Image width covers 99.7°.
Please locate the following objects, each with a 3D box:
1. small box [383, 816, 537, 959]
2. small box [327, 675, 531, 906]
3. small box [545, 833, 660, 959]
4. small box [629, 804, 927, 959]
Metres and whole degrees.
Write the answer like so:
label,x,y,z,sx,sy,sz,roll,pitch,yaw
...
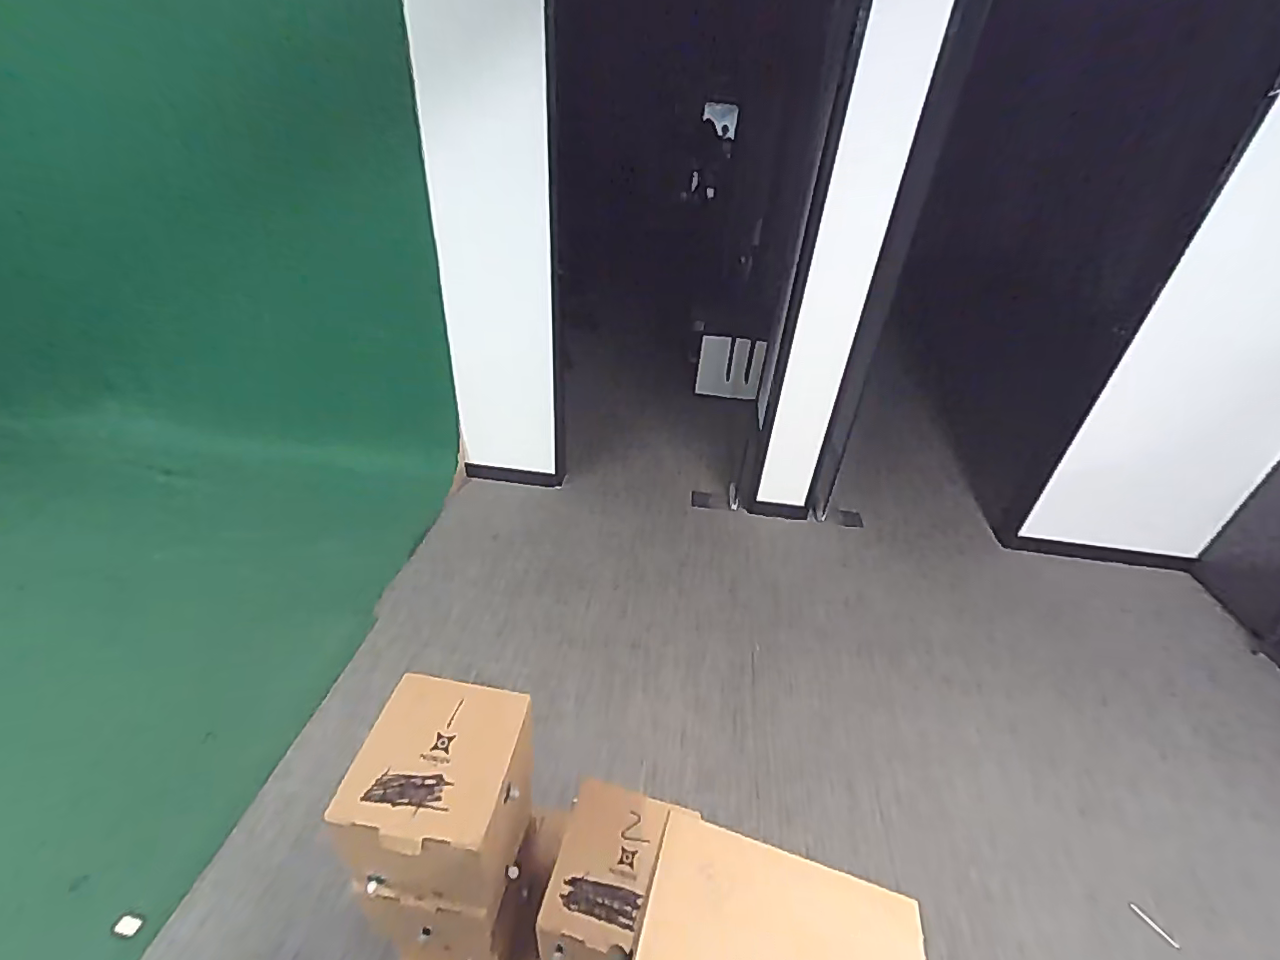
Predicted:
label,x,y,z,sx,sy,sz,roll,pitch,yaw
small box,-0.262,0.638,0.837,0.168,0.176,0.179,10,34,4
small box,-0.231,0.371,0.650,0.168,0.176,0.179,9,33,3
small box,-0.033,0.678,0.804,0.168,0.176,0.179,11,35,10
small box,0.067,0.353,0.334,0.168,0.176,0.179,14,35,11
